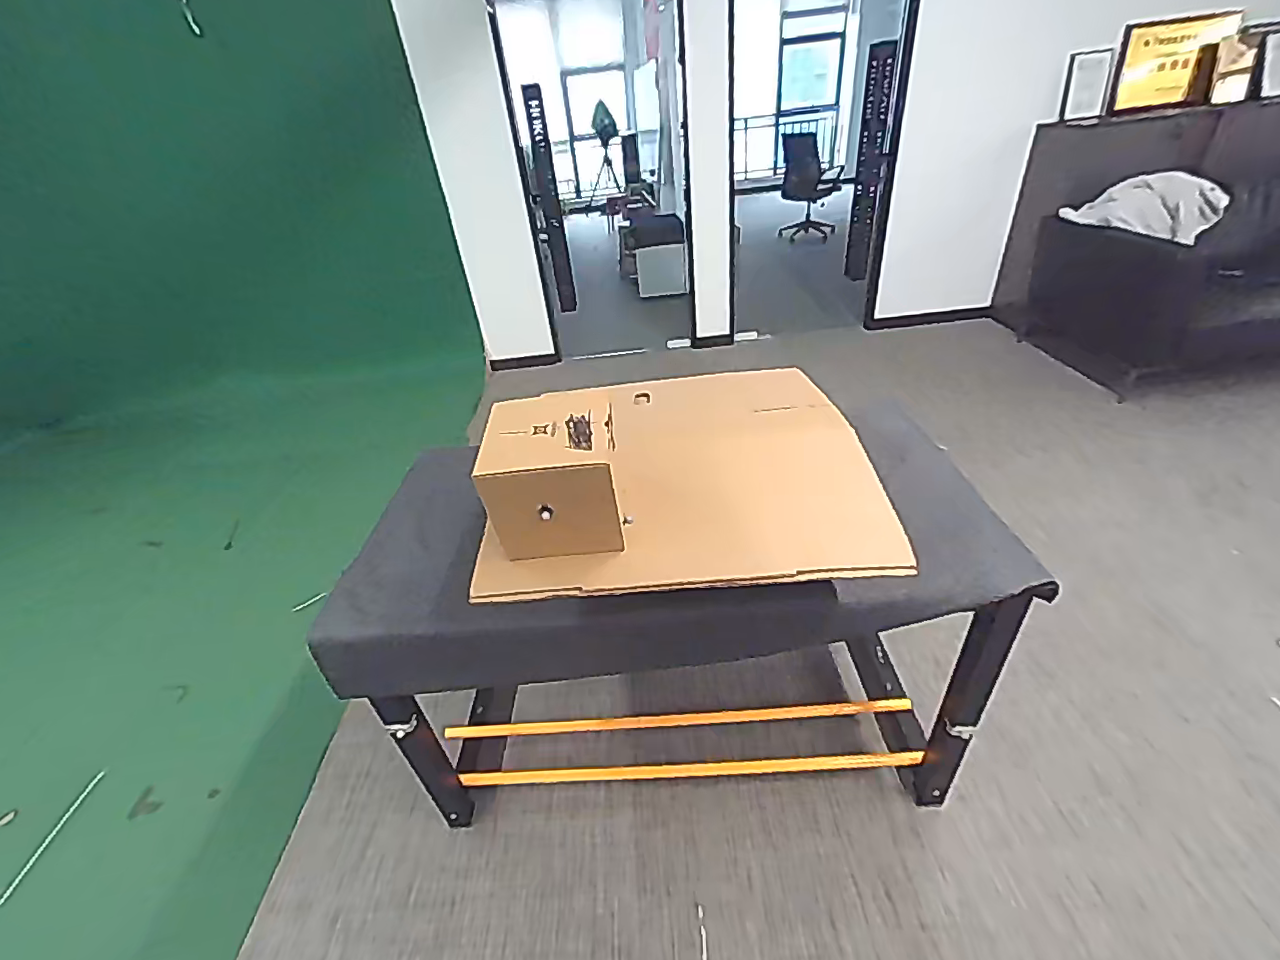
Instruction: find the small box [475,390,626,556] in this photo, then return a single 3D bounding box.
[{"bbox_3d":[-0.114,-0.008,0.785,0.179,0.176,0.168,-6,42,4],"label":"small box"}]
